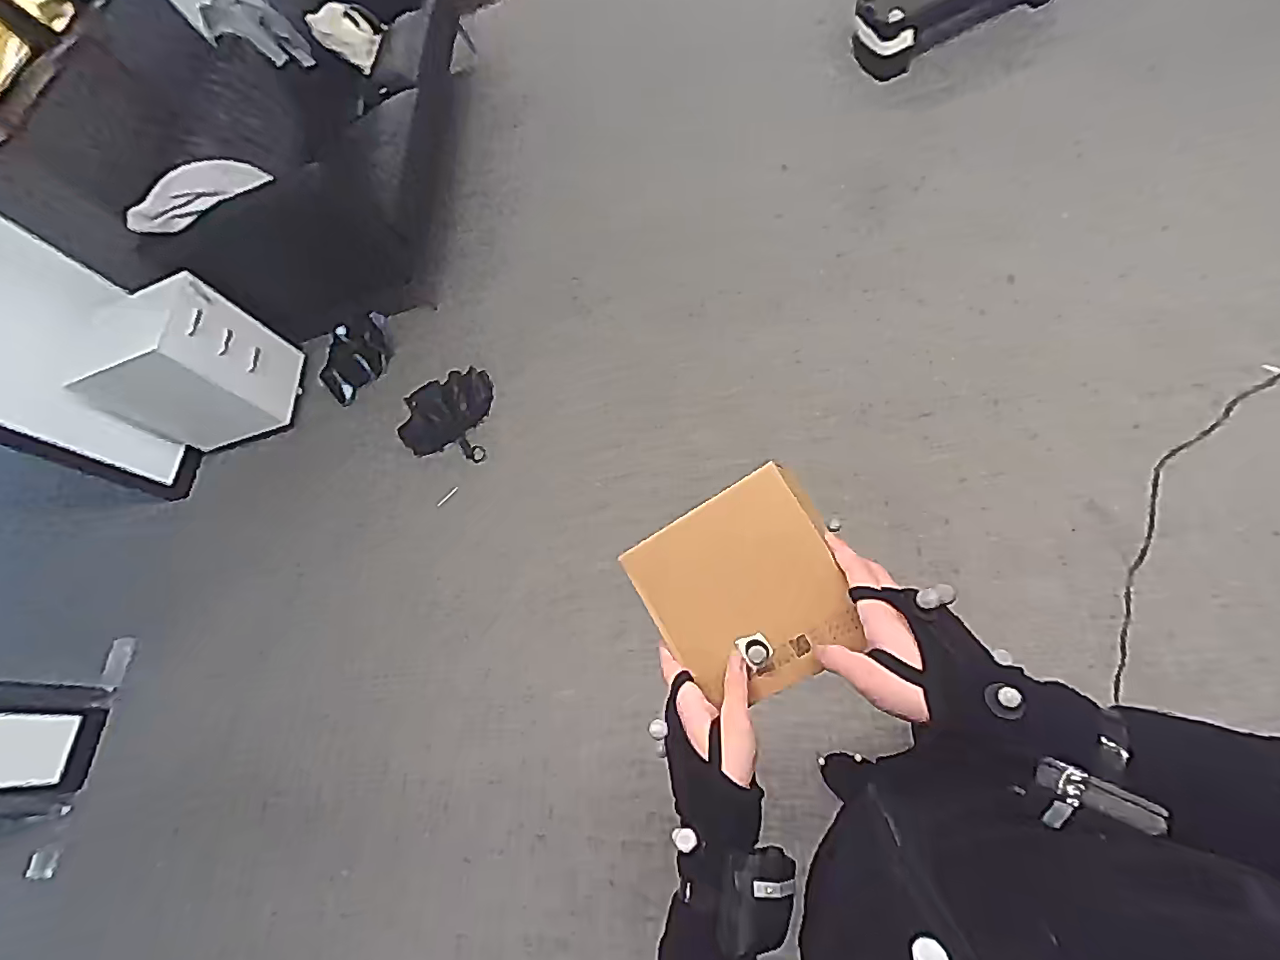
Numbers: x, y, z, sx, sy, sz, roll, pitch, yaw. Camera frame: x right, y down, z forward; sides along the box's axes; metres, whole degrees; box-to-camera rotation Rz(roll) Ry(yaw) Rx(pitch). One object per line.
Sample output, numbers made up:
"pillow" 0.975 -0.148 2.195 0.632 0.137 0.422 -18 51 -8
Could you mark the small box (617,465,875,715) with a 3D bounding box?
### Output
"small box" 0.110 0.103 0.540 0.168 0.179 0.176 -35 78 15
